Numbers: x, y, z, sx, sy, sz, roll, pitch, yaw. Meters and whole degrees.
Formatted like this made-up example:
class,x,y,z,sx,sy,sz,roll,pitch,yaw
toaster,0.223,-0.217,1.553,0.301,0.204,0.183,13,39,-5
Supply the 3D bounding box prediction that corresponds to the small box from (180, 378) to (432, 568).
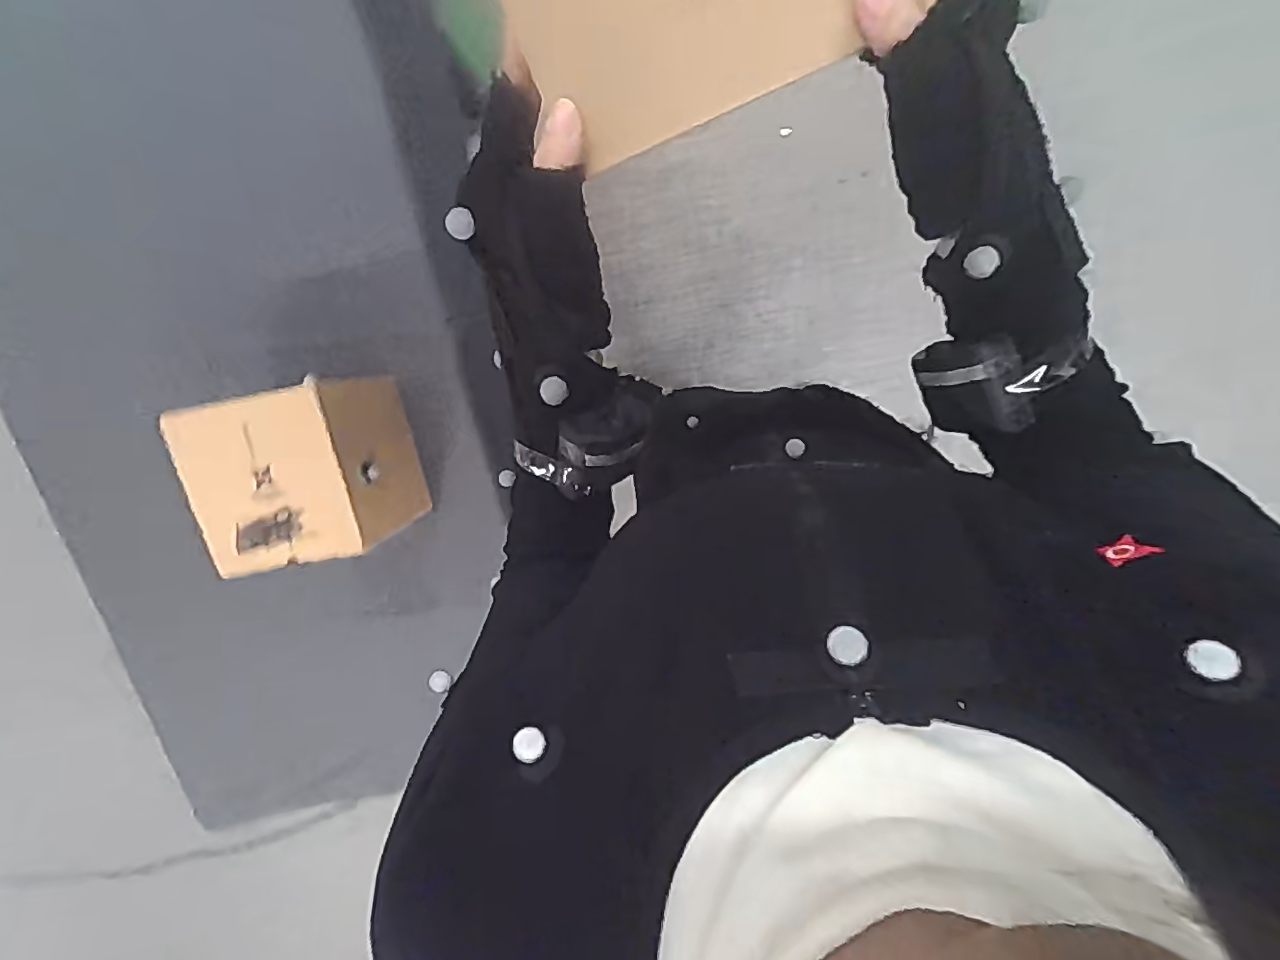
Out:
class,x,y,z,sx,sy,sz,roll,pitch,yaw
small box,-0.372,-0.018,0.642,0.168,0.176,0.179,-11,102,4
